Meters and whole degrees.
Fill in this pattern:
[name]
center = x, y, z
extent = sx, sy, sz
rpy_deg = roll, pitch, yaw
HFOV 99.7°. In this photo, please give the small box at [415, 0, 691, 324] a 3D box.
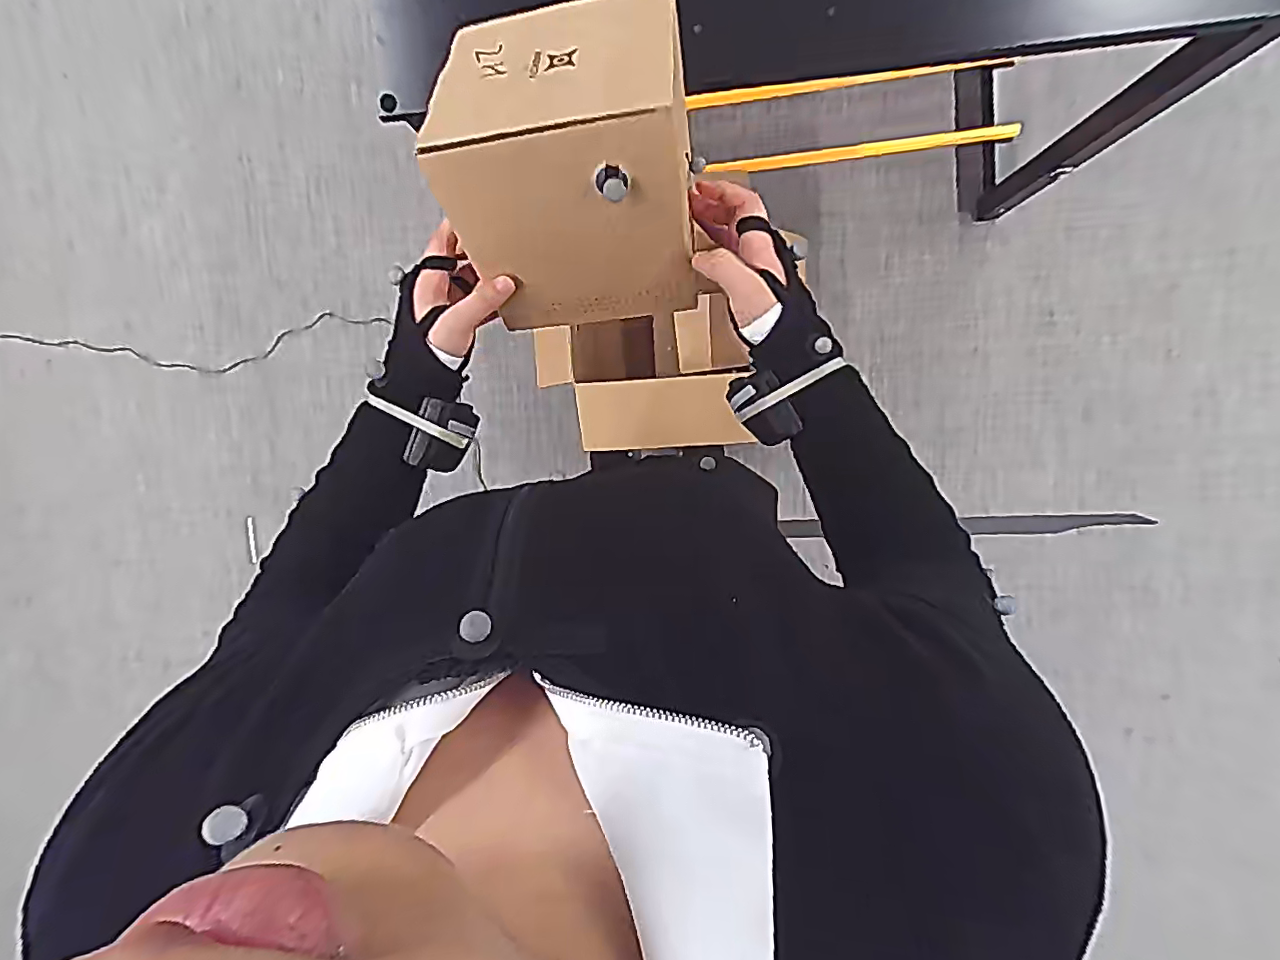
[small box]
center = -0.049, -0.251, 0.449
extent = 0.179, 0.176, 0.168
rpy_deg = -2, 62, 9
